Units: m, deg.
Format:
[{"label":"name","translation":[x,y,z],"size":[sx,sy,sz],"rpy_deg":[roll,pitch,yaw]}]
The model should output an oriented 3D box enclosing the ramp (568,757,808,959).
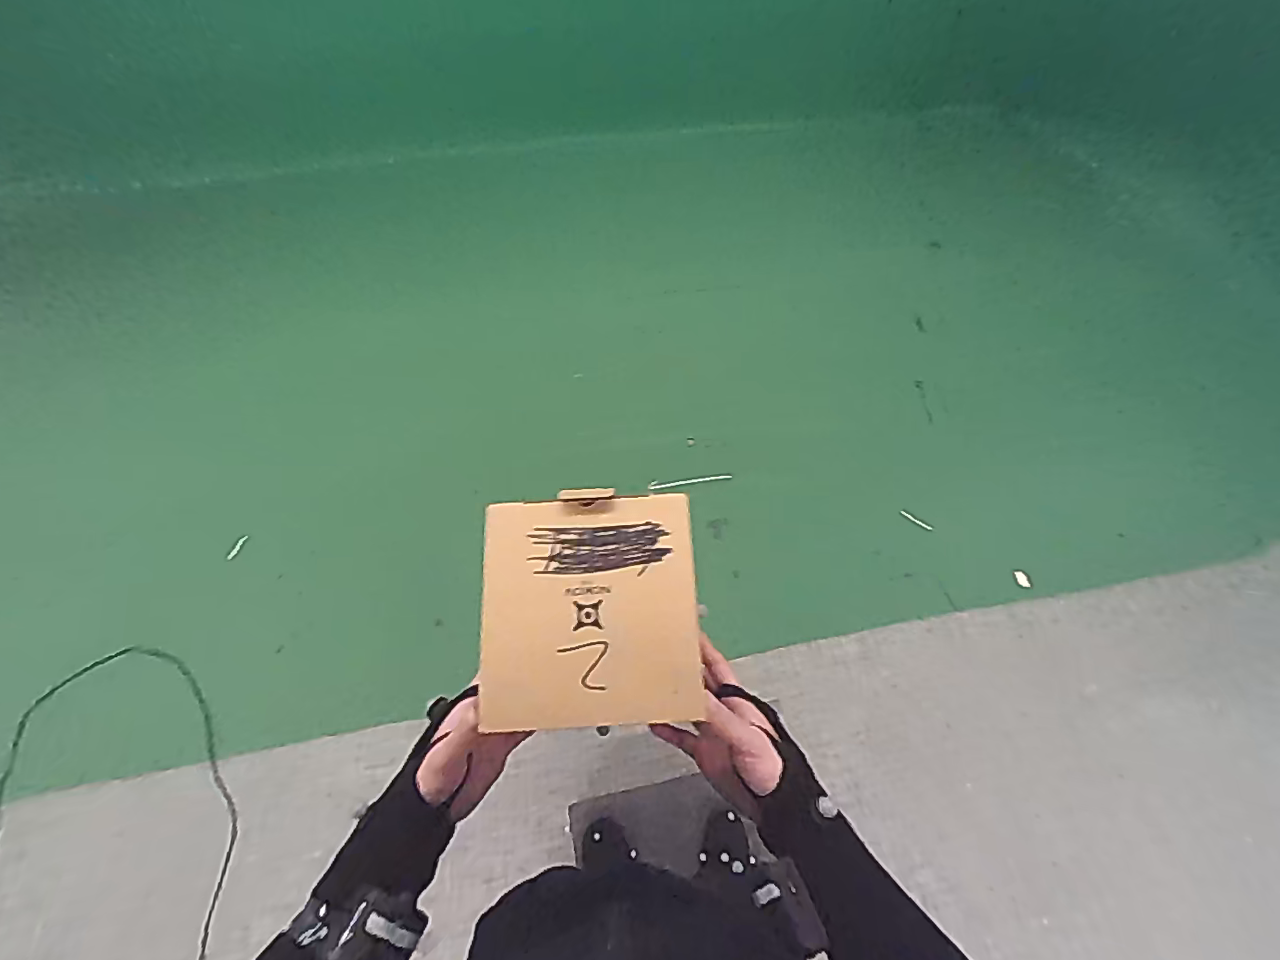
[{"label":"ramp","translation":[0.162,1.203,1.189],"size":[0.509,0.206,0.991],"rpy_deg":[-11,60,-8]}]
